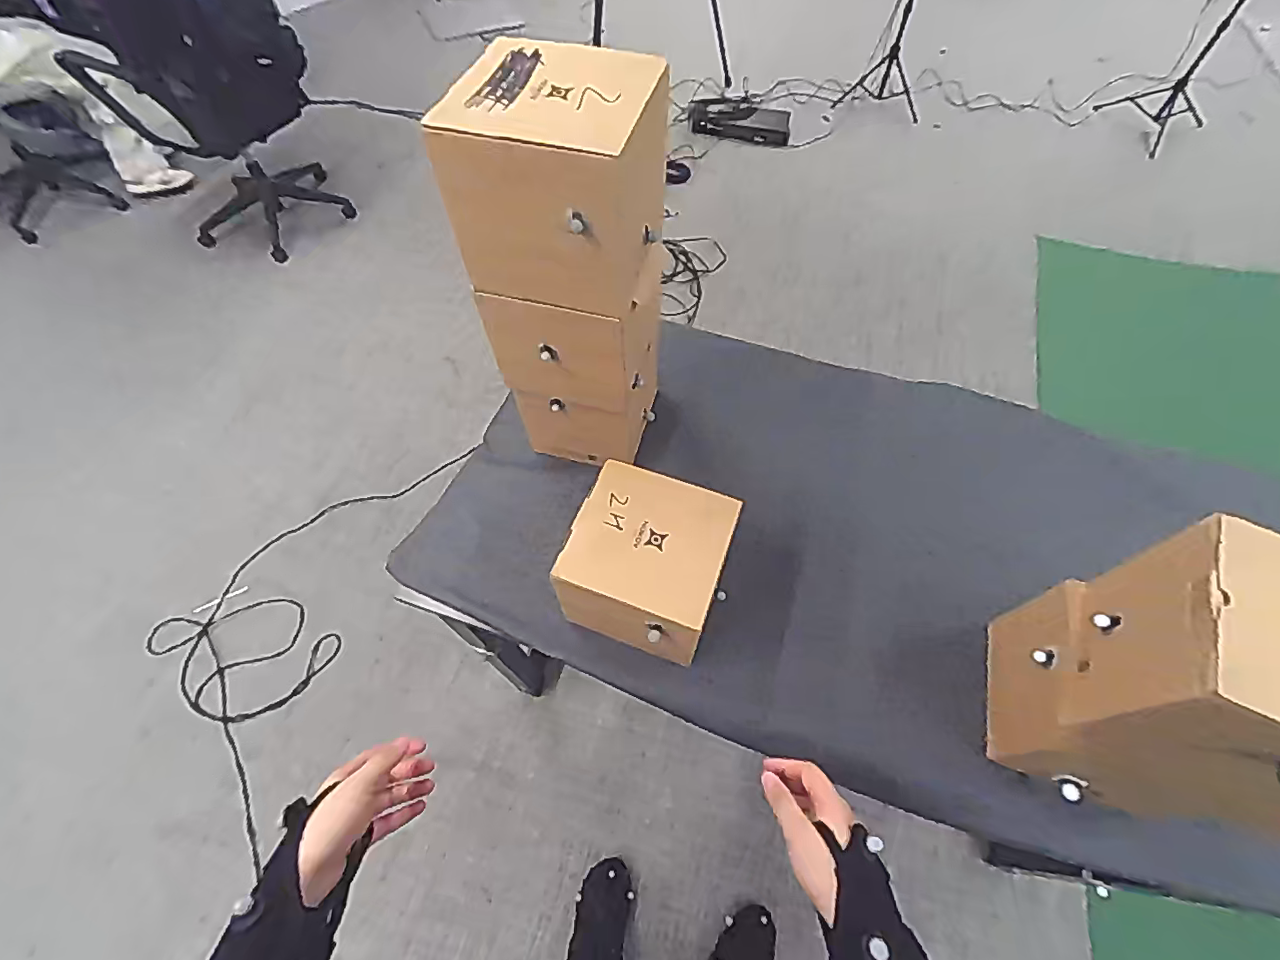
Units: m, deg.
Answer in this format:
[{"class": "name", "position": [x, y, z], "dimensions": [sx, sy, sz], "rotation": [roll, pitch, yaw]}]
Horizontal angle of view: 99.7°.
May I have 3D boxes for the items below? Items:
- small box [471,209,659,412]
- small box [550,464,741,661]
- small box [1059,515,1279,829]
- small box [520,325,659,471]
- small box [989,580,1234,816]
[{"class": "small box", "position": [-0.080, -0.207, 0.687], "dimensions": [0.179, 0.176, 0.168], "rotation": [13, 61, 9]}, {"class": "small box", "position": [0.011, 0.111, 0.680], "dimensions": [0.179, 0.176, 0.168], "rotation": [17, 60, 12]}, {"class": "small box", "position": [0.501, 0.164, 0.445], "dimensions": [0.179, 0.176, 0.168], "rotation": [25, 61, 18]}, {"class": "small box", "position": [-0.073, -0.136, 0.837], "dimensions": [0.168, 0.176, 0.179], "rotation": [13, 60, 8]}, {"class": "small box", "position": [0.508, 0.240, 0.589], "dimensions": [0.168, 0.176, 0.179], "rotation": [16, 59, 12]}]
